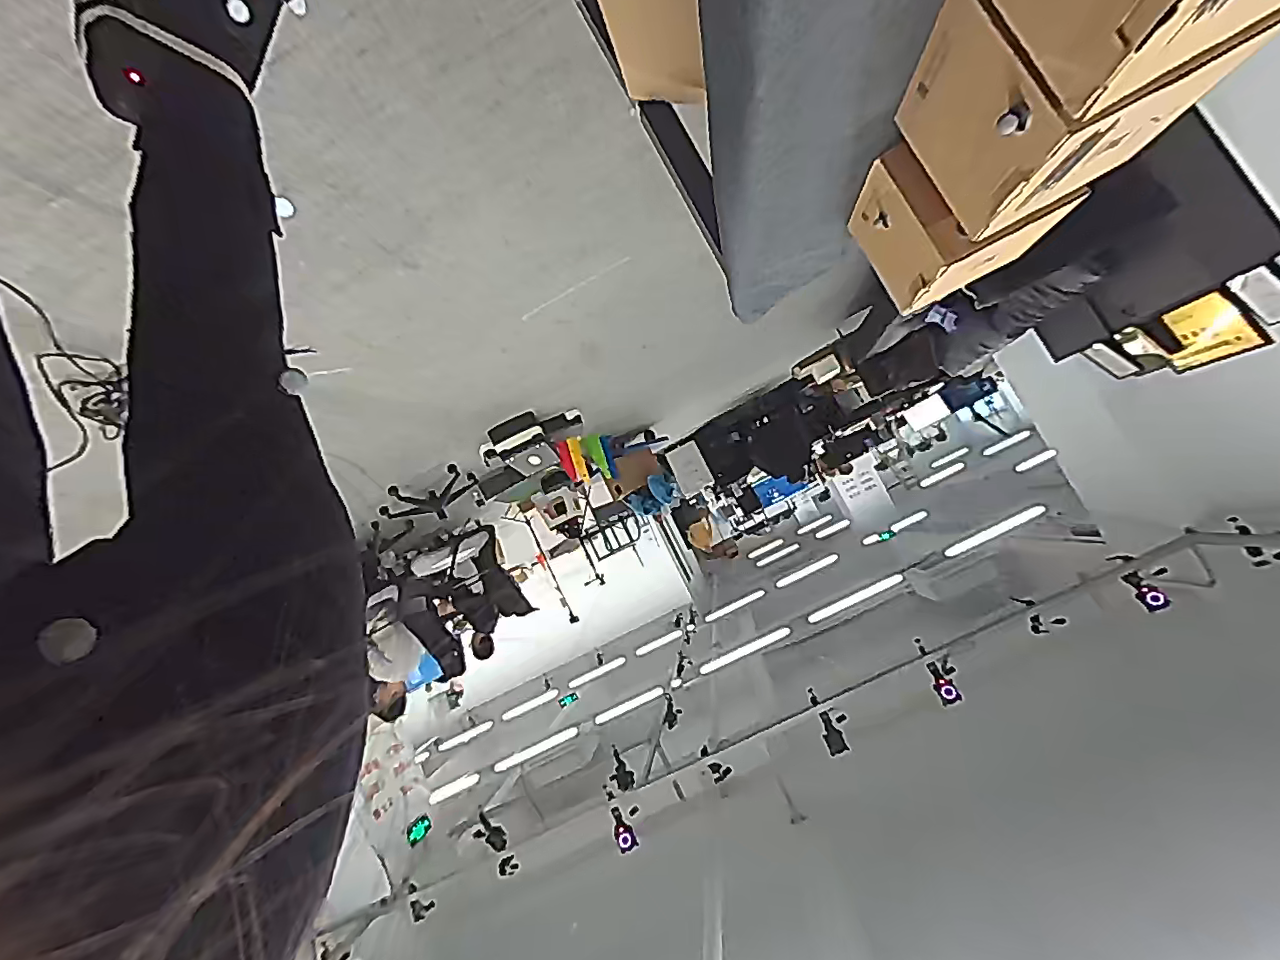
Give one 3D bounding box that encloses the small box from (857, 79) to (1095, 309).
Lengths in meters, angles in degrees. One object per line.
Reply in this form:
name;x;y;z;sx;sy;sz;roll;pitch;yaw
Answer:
small box;0.418;-0.363;0.707;0.179;0.176;0.168;-26;174;8
